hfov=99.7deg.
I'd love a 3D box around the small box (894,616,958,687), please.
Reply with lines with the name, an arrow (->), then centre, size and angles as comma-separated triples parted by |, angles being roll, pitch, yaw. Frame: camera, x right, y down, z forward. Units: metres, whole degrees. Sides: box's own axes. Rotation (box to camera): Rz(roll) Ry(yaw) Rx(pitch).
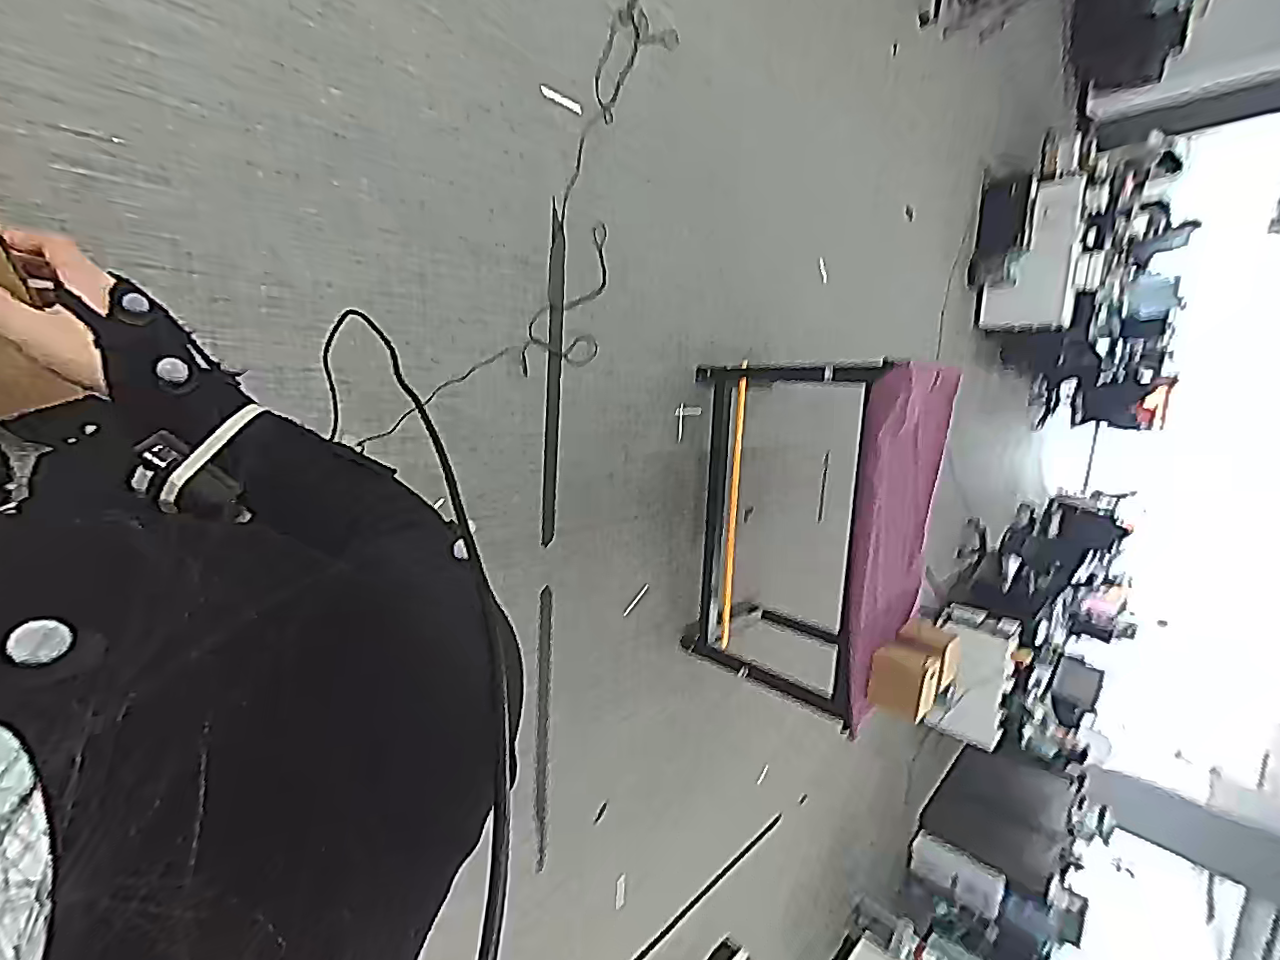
small box -> 1.056, 0.632, 2.013 | 0.168, 0.176, 0.179 | -7, 103, -44

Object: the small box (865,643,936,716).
small box -> 0.889, 0.672, 1.851 | 0.168, 0.176, 0.179 | 1, 98, -47
